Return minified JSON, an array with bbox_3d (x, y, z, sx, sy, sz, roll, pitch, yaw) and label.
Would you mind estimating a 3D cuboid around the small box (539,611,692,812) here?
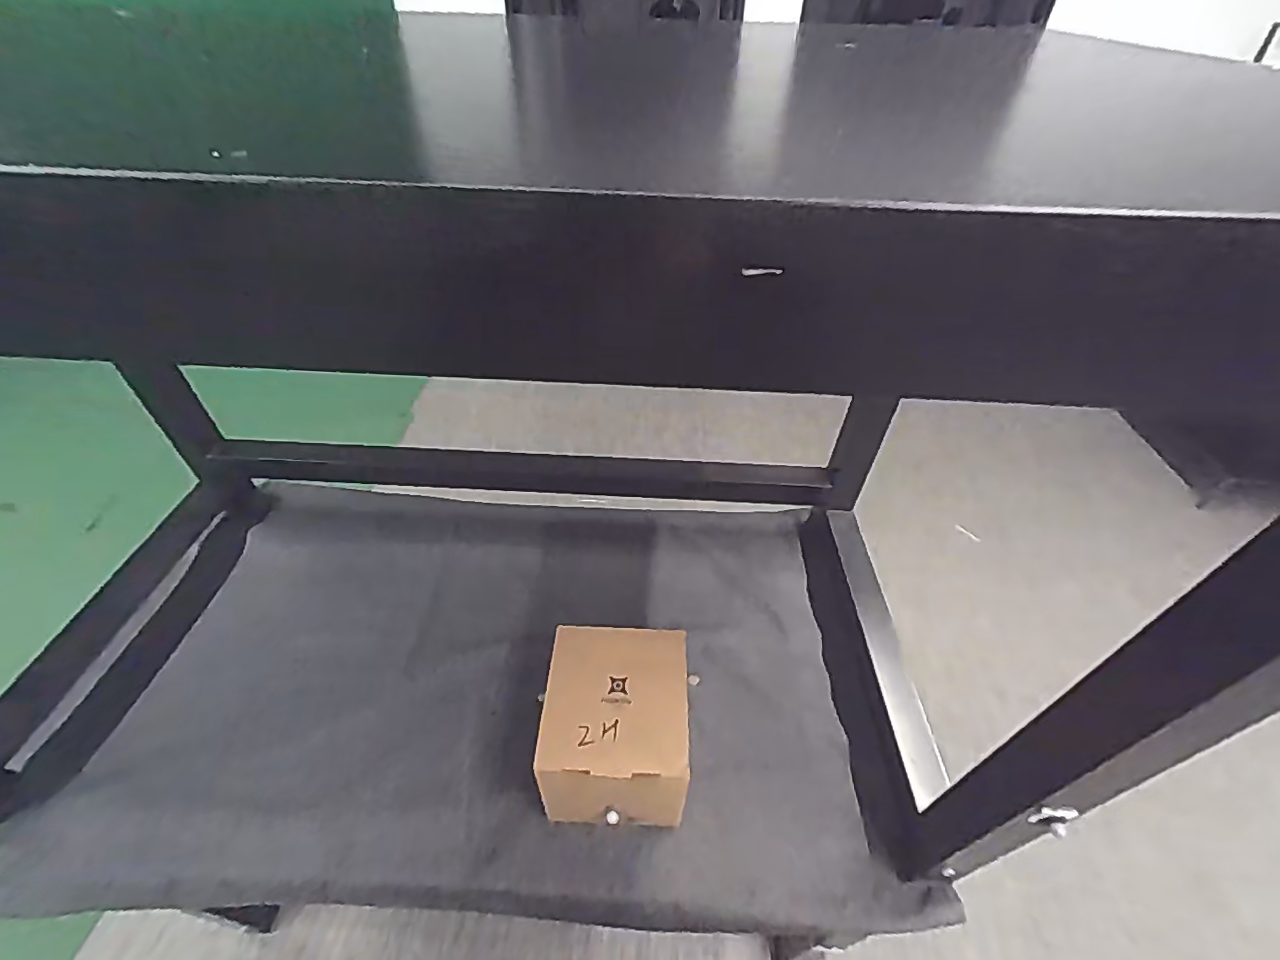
[{"bbox_3d":[-0.025,0.290,0.683,0.168,0.176,0.179,2,42,2],"label":"small box"}]
